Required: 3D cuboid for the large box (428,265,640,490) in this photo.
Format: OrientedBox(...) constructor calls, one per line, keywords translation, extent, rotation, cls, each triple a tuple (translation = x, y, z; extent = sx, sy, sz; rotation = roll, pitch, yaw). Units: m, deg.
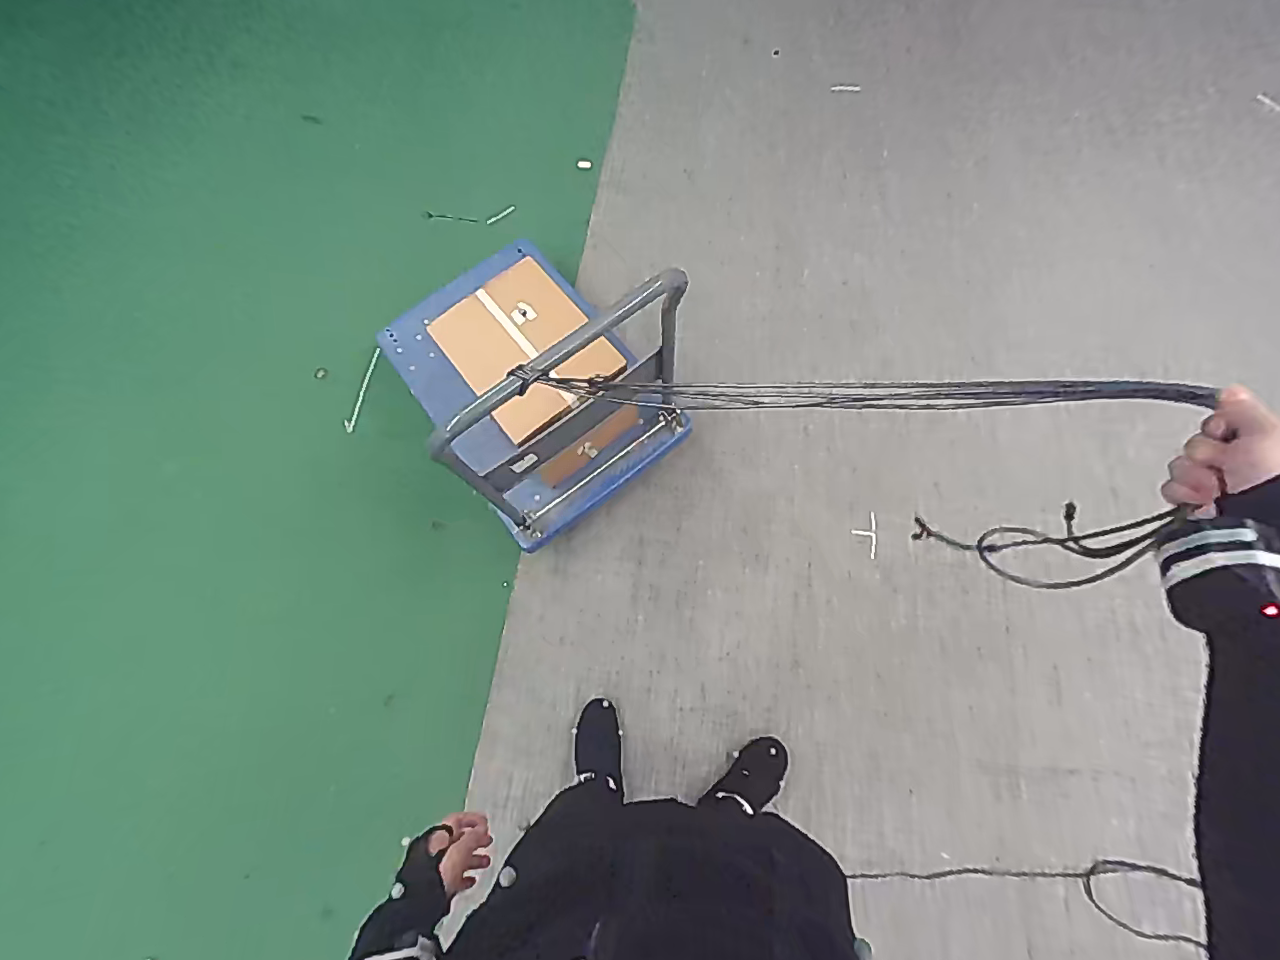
OrientedBox(translation=(-0.251, -0.249, 1.388), extent=(0.320, 0.320, 0.408), rotation=(-38, 71, -8), cls="large box")
